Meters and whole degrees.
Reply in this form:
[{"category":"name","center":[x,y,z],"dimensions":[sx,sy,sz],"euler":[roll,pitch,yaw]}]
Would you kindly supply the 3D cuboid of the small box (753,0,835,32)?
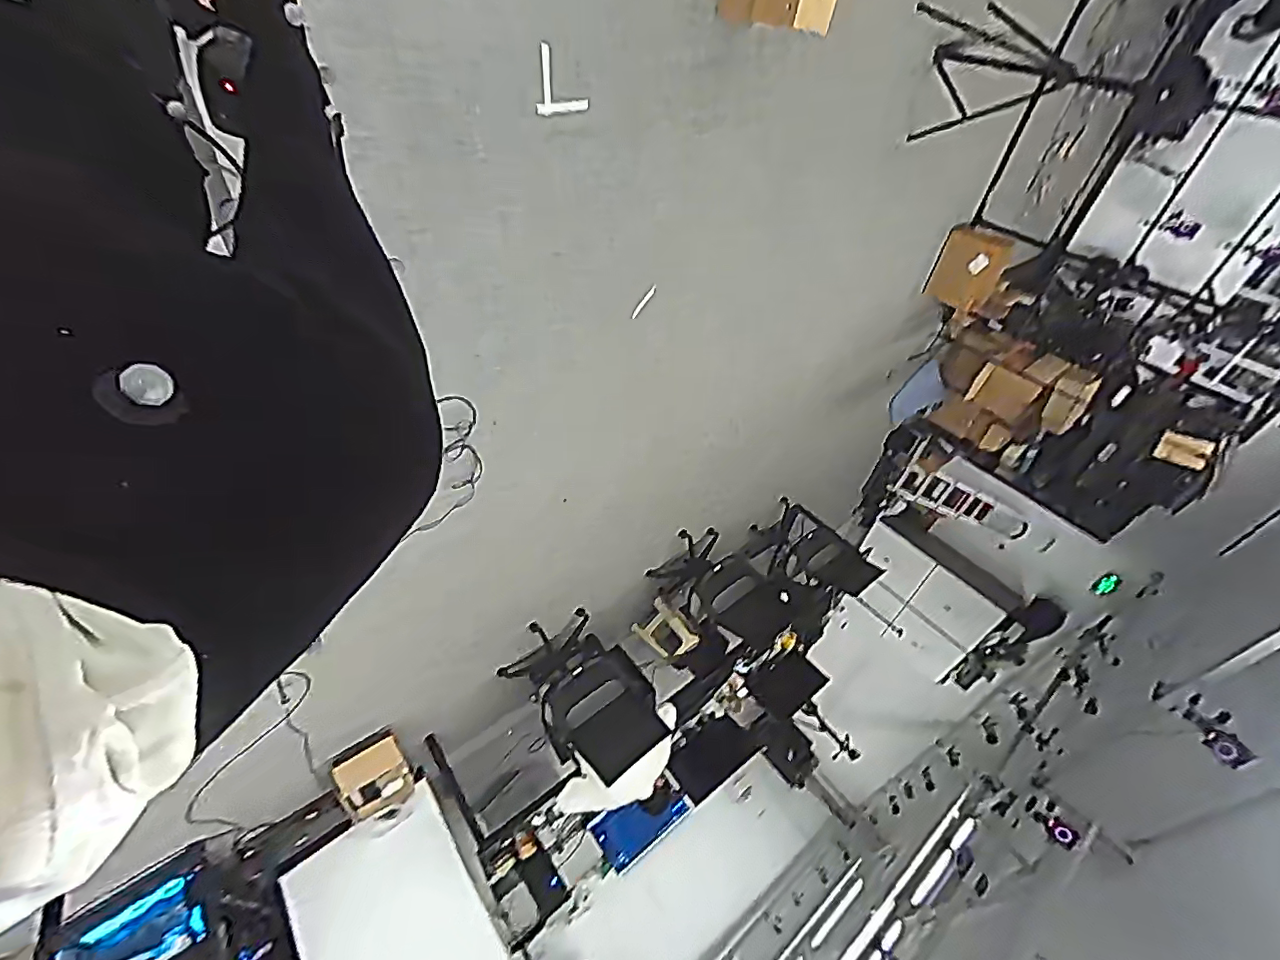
[{"category":"small box","center":[0.450,-1.414,1.545],"dimensions":[0.168,0.176,0.179],"euler":[-23,141,-34]}]
